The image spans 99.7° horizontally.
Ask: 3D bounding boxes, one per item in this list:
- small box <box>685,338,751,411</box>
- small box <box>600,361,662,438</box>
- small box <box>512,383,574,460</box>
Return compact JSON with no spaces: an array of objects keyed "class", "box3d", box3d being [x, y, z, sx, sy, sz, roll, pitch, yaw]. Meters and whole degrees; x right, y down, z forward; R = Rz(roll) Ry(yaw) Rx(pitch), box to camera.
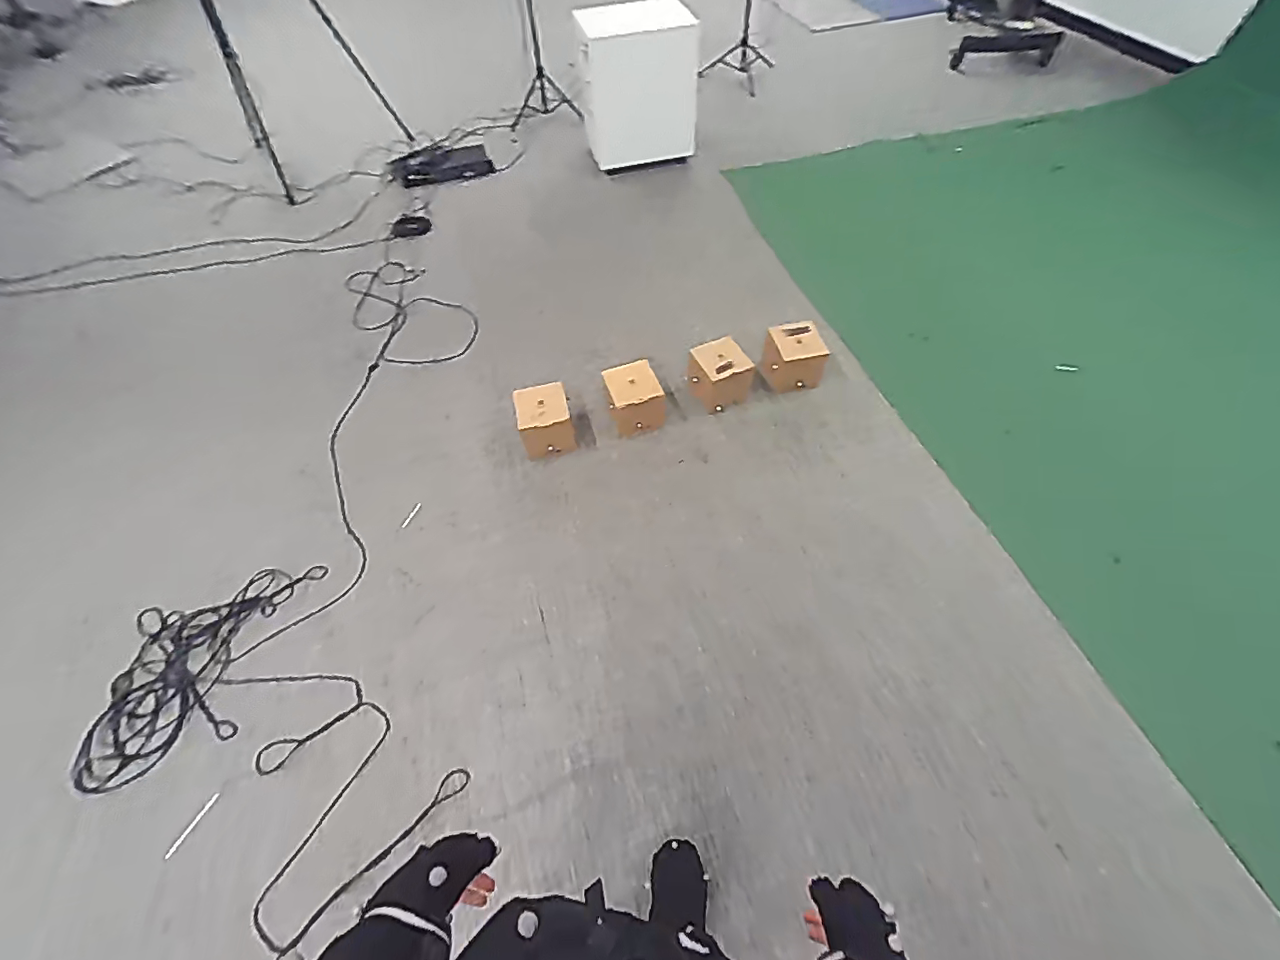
[{"class":"small box","box3d":[0.268,-0.365,1.906,0.168,0.176,0.179,-21,57,-13]},{"class":"small box","box3d":[-0.032,-0.273,1.853,0.168,0.176,0.179,-18,58,-10]},{"class":"small box","box3d":[-0.323,-0.195,1.809,0.168,0.176,0.179,-13,56,-5]}]
